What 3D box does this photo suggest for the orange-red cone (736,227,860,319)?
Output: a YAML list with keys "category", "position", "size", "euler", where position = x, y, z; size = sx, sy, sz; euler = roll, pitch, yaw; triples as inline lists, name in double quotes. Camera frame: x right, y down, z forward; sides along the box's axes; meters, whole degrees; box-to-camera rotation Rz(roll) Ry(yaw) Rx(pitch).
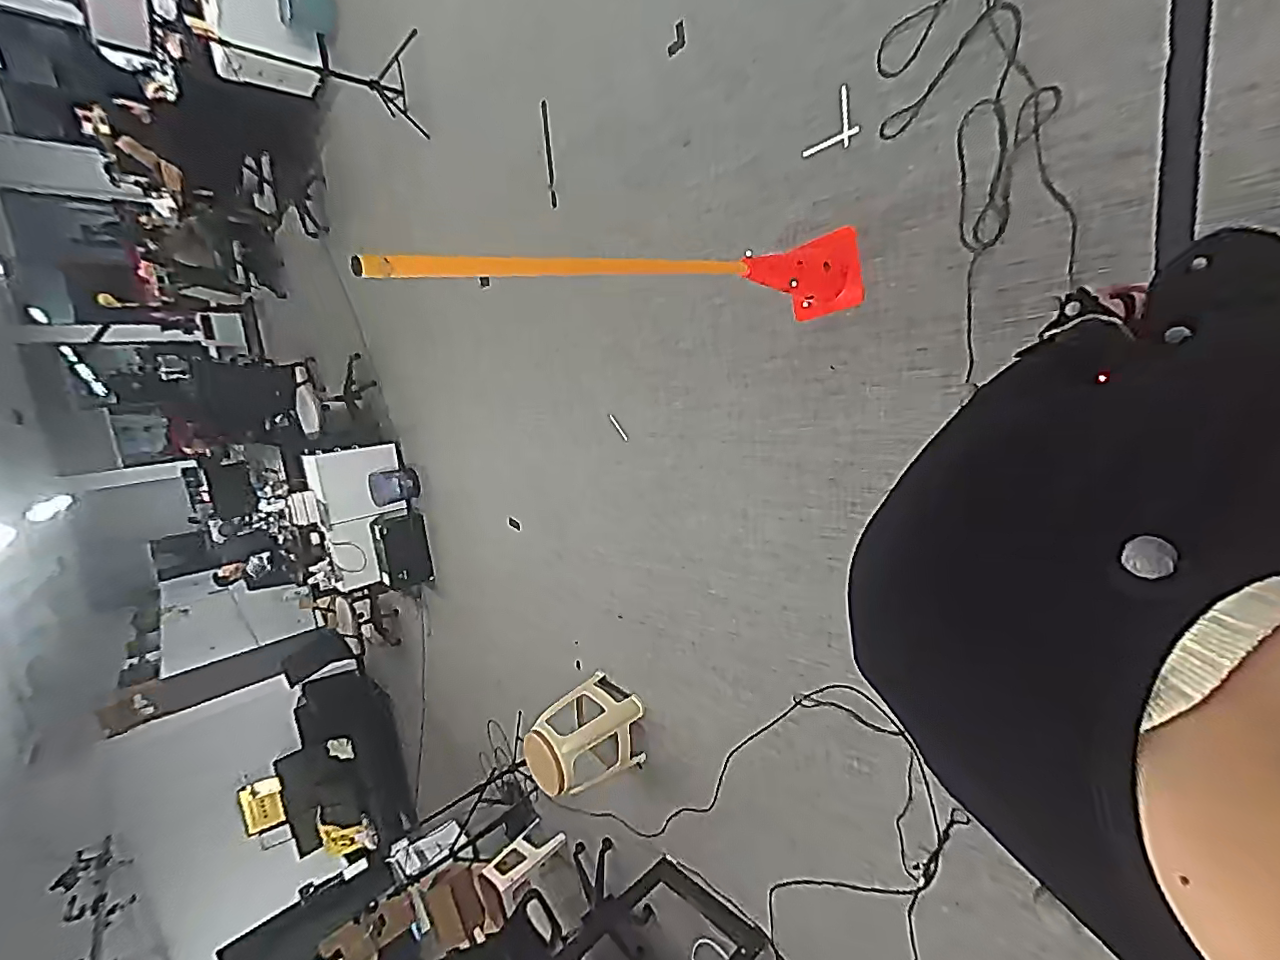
- category: "orange-red cone"
  position: [0.356, -0.509, 1.318]
  size: [0.199, 0.360, 0.198]
  euler: [-3, 99, 48]
